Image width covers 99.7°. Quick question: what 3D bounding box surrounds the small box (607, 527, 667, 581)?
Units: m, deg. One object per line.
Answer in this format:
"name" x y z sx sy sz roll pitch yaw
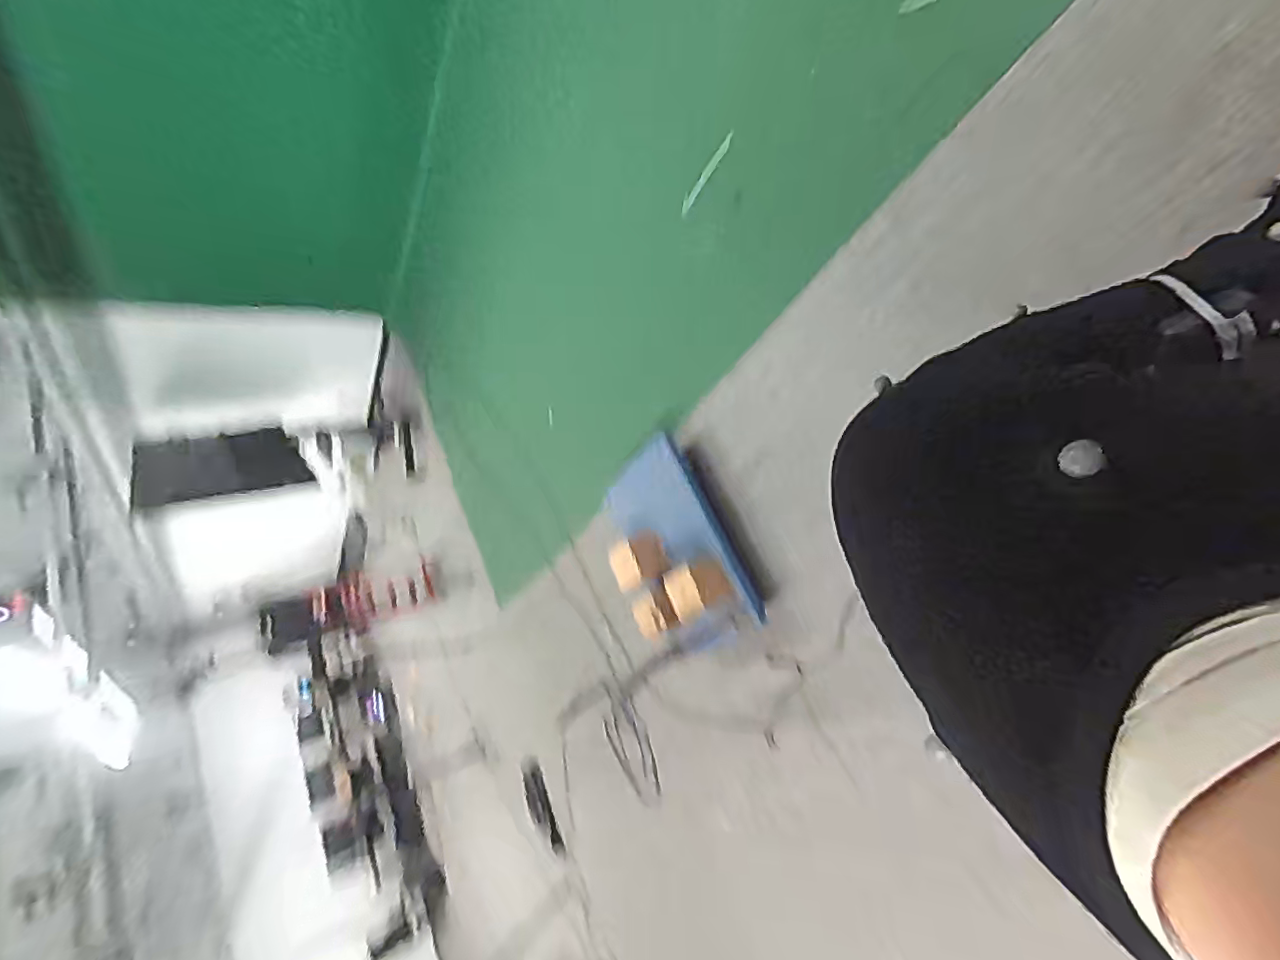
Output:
"small box" -0.011 0.322 2.359 0.179 0.176 0.168 -43 66 45

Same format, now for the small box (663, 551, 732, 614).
"small box" 0.224 0.393 2.087 0.168 0.176 0.179 -40 68 47
